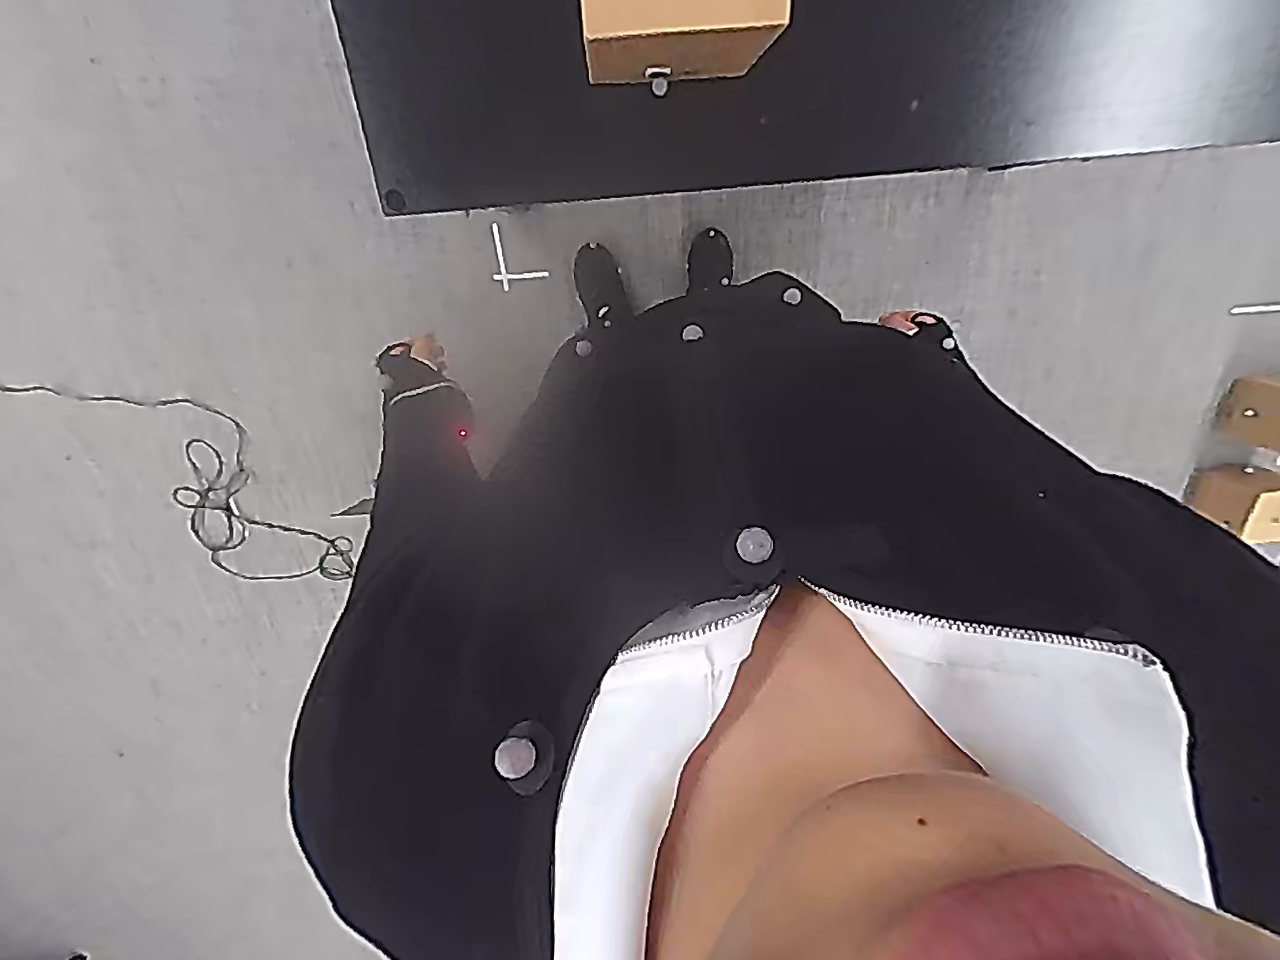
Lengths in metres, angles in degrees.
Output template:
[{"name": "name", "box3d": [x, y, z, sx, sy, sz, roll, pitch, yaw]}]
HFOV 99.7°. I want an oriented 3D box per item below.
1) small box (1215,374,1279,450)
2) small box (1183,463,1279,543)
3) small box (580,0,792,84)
[{"name": "small box", "box3d": [1.770, -0.190, 1.489, 0.179, 0.176, 0.168, -2, 115, -1]}, {"name": "small box", "box3d": [1.797, 0.066, 1.613, 0.168, 0.176, 0.179, -6, 116, 0]}, {"name": "small box", "box3d": [0.028, -0.464, 0.457, 0.168, 0.176, 0.179, -5, 116, 0]}]
